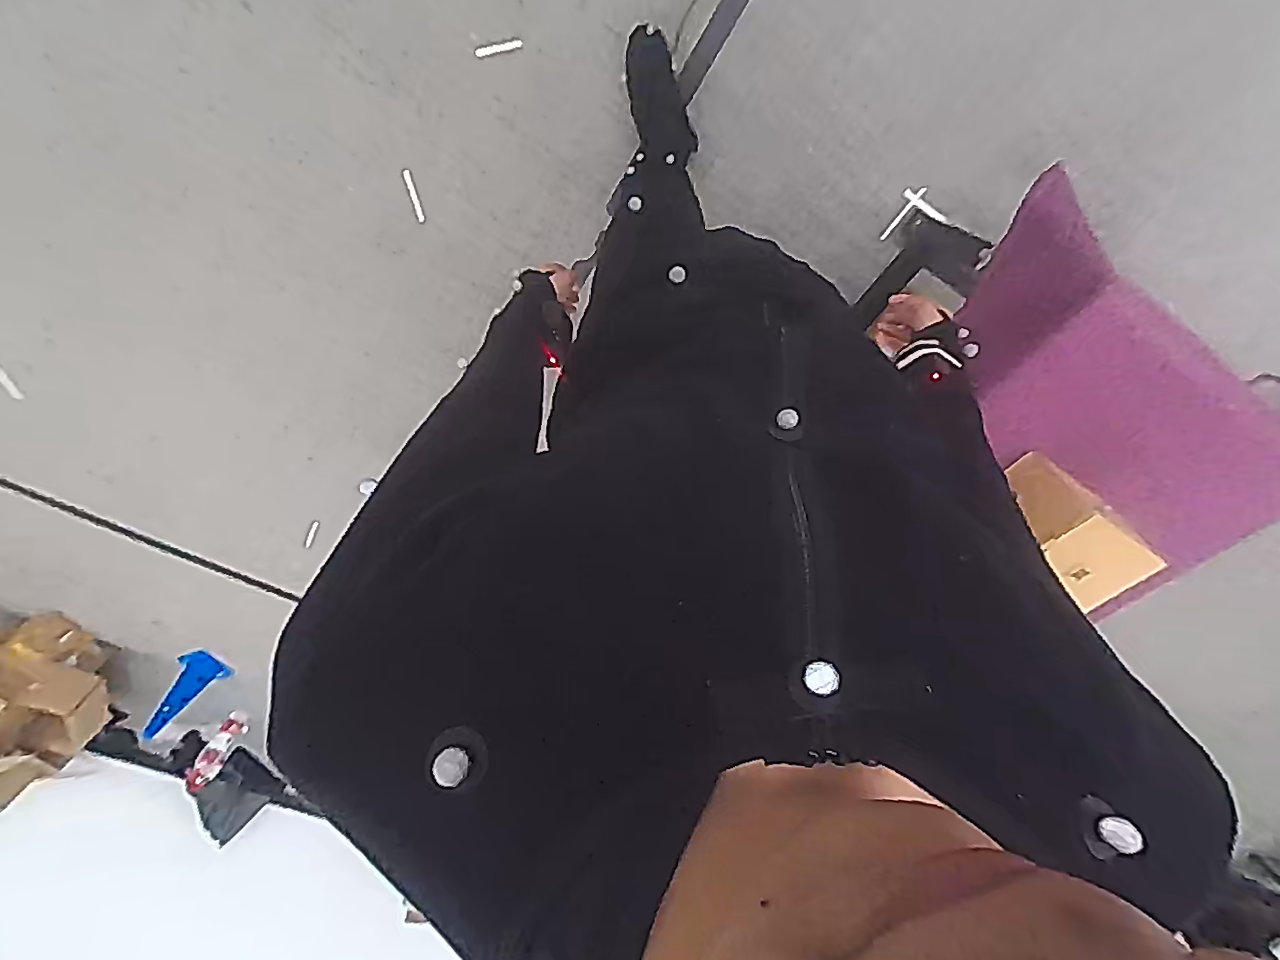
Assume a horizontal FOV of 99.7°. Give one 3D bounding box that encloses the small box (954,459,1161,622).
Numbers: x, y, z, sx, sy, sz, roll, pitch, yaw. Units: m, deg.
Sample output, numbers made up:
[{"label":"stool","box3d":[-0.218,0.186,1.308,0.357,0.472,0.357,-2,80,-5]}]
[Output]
[{"label":"small box","box3d":[0.666,0.094,0.884,0.179,0.176,0.168,28,122,-15]}]
